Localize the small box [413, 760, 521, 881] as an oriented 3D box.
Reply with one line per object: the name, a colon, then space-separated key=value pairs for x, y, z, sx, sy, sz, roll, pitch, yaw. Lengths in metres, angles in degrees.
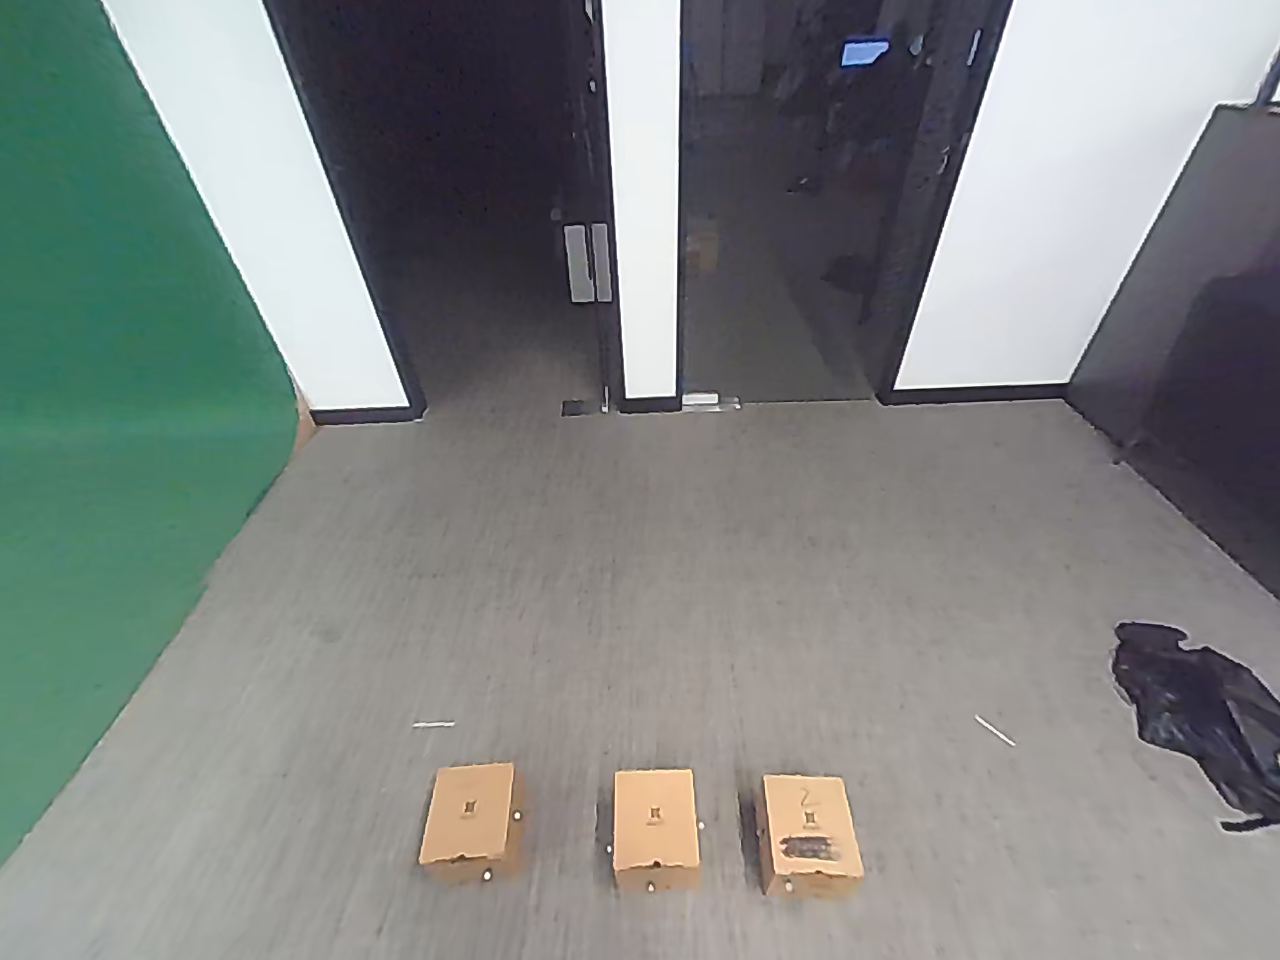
small box: x=-0.350 y=0.716 z=1.133 sx=0.168 sy=0.176 sz=0.179 roll=-3 pitch=40 yaw=-3

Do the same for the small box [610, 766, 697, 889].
small box: x=0.025 y=0.717 z=1.118 sx=0.168 sy=0.176 sz=0.179 roll=-1 pitch=41 yaw=-1
